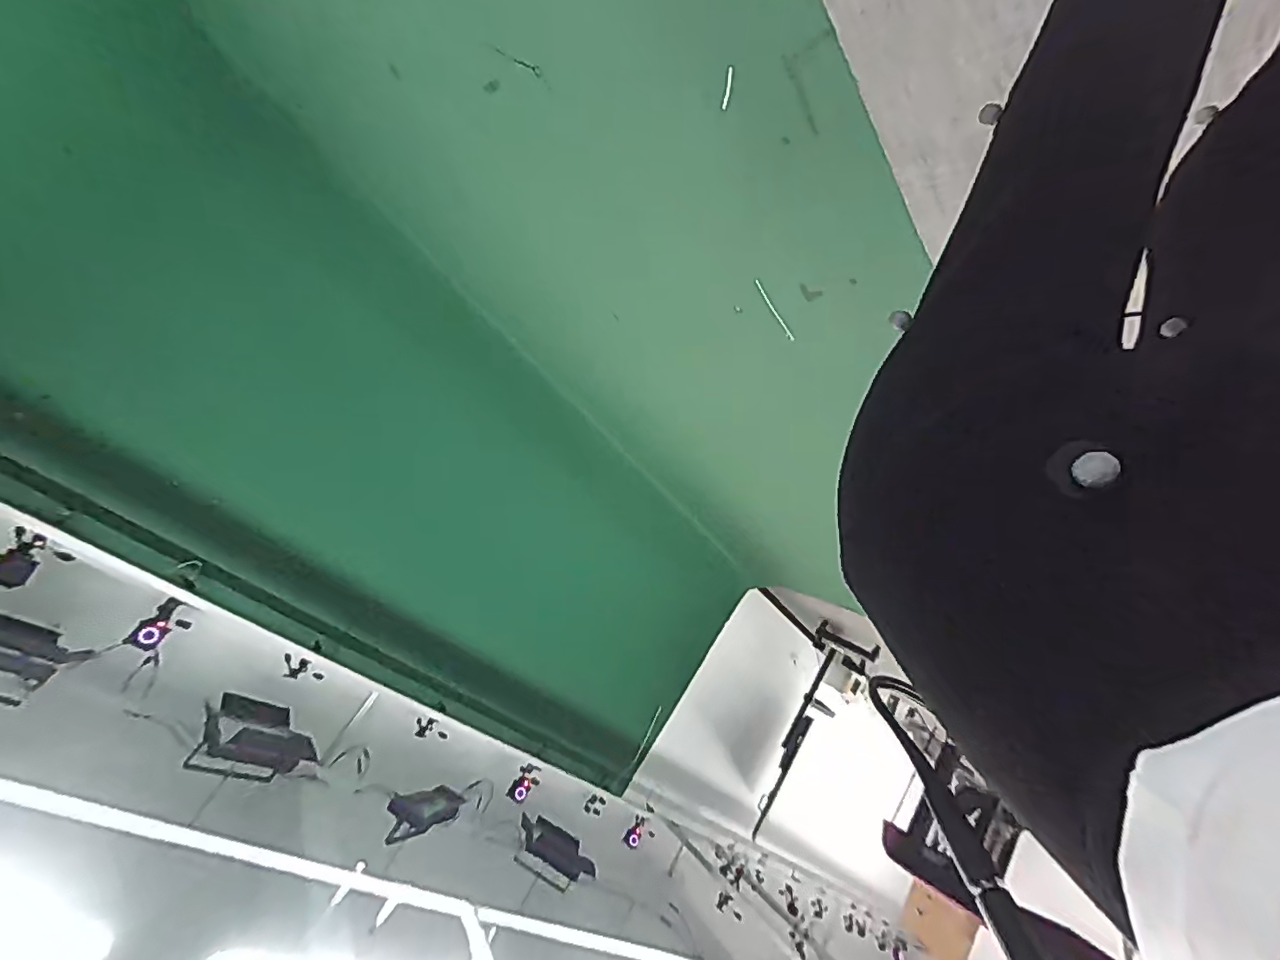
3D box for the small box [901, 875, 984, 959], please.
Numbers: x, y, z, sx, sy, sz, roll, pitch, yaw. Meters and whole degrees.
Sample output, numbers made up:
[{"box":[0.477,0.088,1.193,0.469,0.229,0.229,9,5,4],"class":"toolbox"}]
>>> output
[{"box":[1.008,1.456,1.796,0.179,0.176,0.168,42,164,-31],"class":"small box"}]
